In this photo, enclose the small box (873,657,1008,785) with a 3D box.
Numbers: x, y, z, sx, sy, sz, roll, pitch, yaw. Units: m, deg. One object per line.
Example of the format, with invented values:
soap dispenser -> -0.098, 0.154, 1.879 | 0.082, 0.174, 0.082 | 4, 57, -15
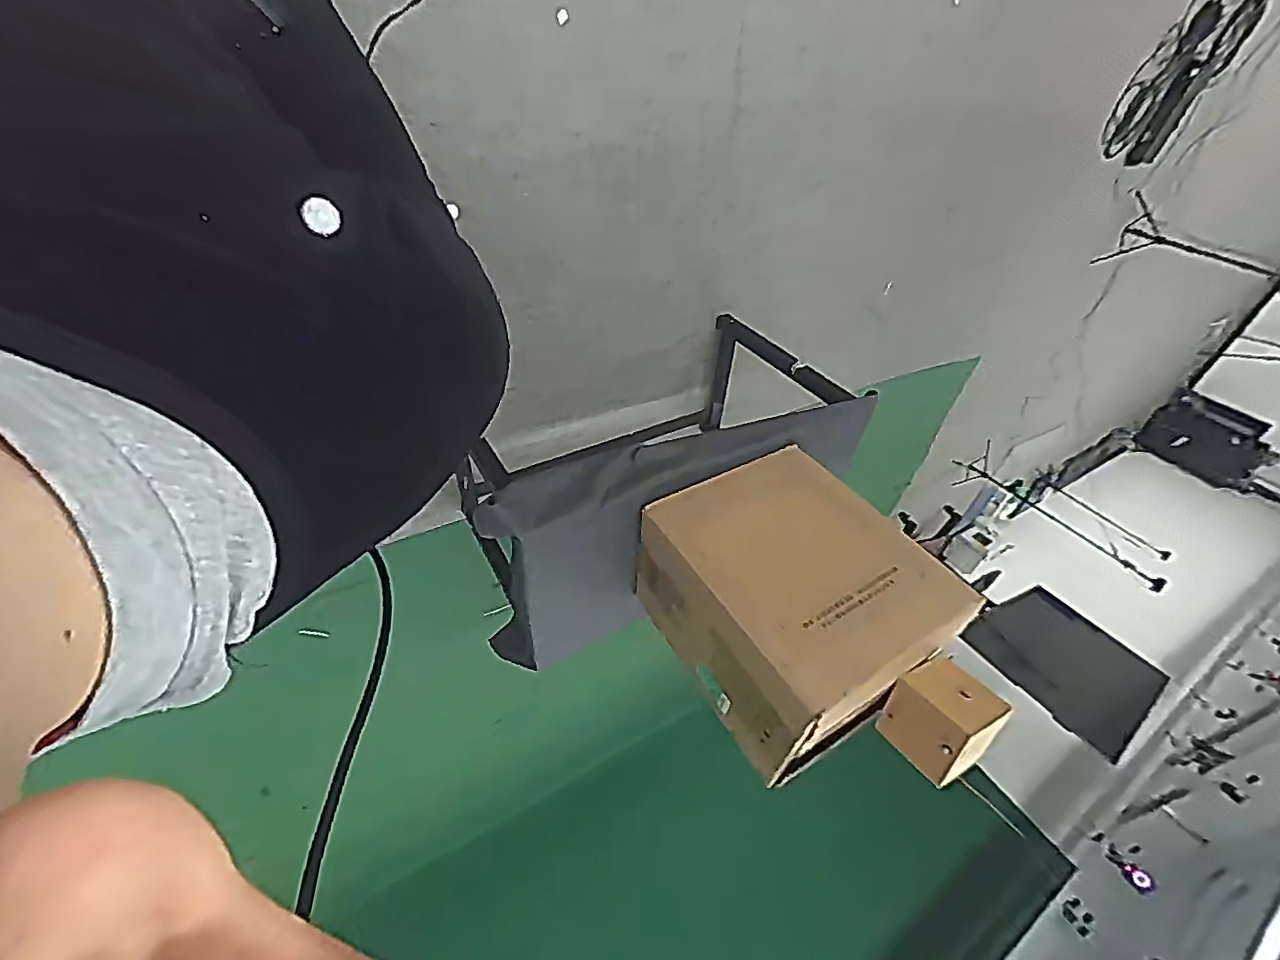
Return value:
small box -> 0.661, 0.524, 1.202 | 0.179, 0.176, 0.168 | -9, 122, -32
